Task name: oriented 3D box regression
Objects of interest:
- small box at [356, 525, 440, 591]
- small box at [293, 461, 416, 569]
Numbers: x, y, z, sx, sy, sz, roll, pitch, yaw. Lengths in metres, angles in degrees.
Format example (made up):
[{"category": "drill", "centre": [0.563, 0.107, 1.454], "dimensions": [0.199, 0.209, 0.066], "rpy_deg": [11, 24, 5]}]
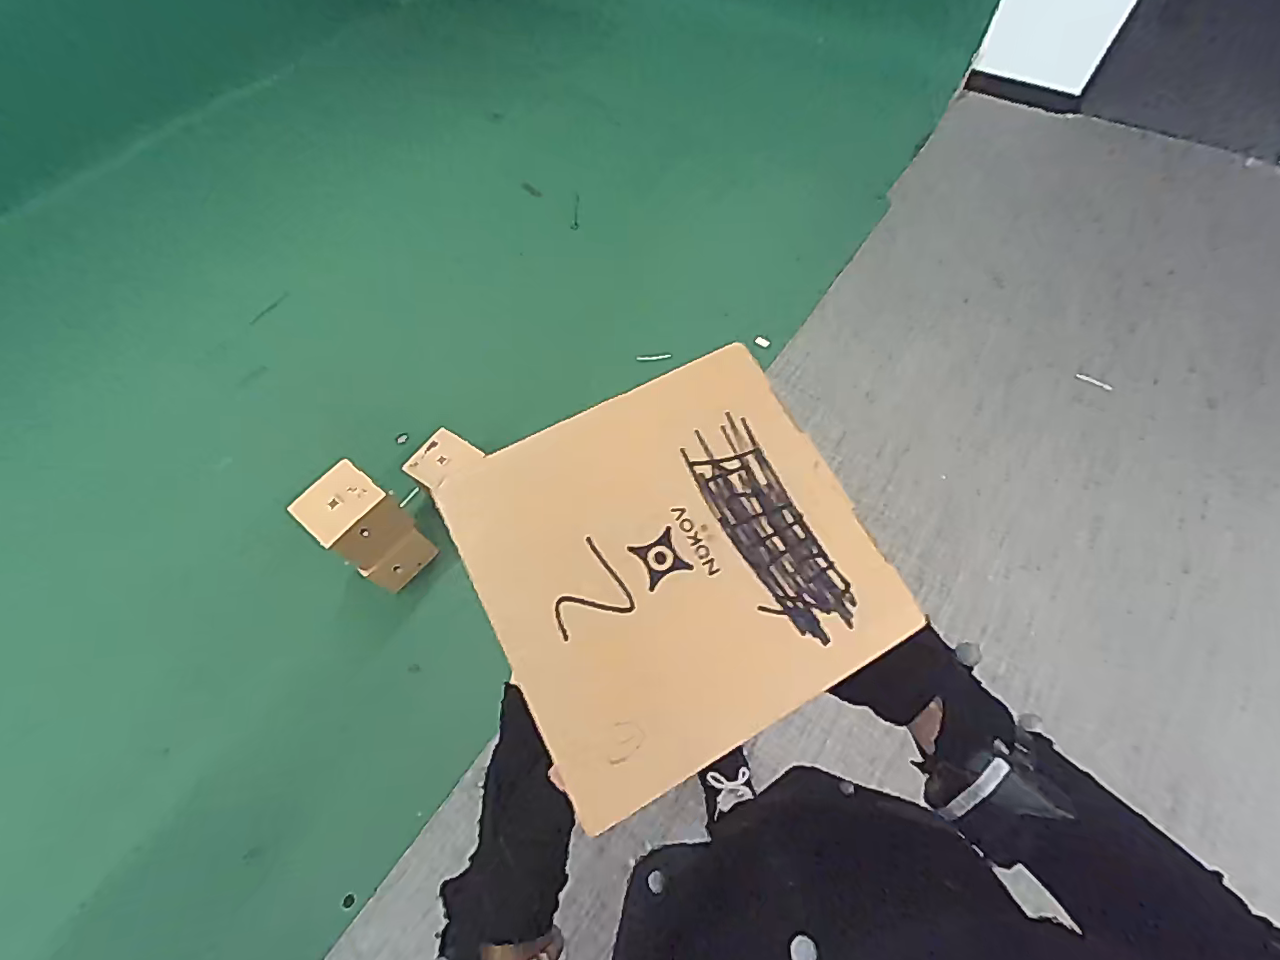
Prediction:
[{"category": "small box", "centre": [-0.685, 0.182, 1.478], "dimensions": [0.179, 0.176, 0.168], "rpy_deg": [36, 70, 21]}, {"category": "small box", "centre": [-0.696, 0.093, 1.339], "dimensions": [0.168, 0.176, 0.179], "rpy_deg": [35, 69, 20]}]
